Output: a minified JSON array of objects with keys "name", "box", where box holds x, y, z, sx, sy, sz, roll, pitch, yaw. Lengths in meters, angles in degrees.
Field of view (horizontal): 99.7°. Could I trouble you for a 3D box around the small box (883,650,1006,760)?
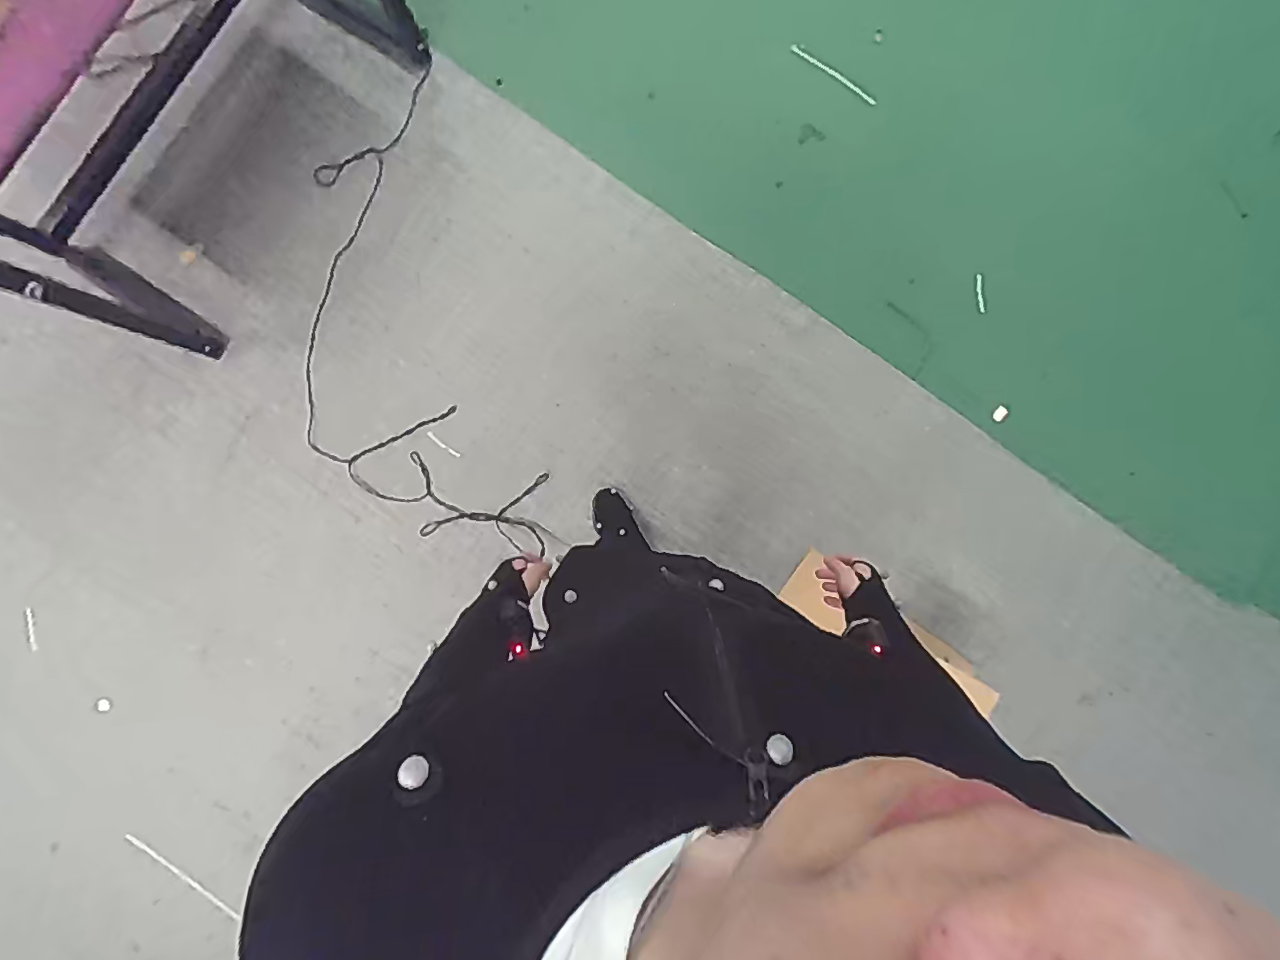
[{"name":"small box","box":[0.741,0.544,1.341,0.179,0.176,0.168,31,90,2]}]
